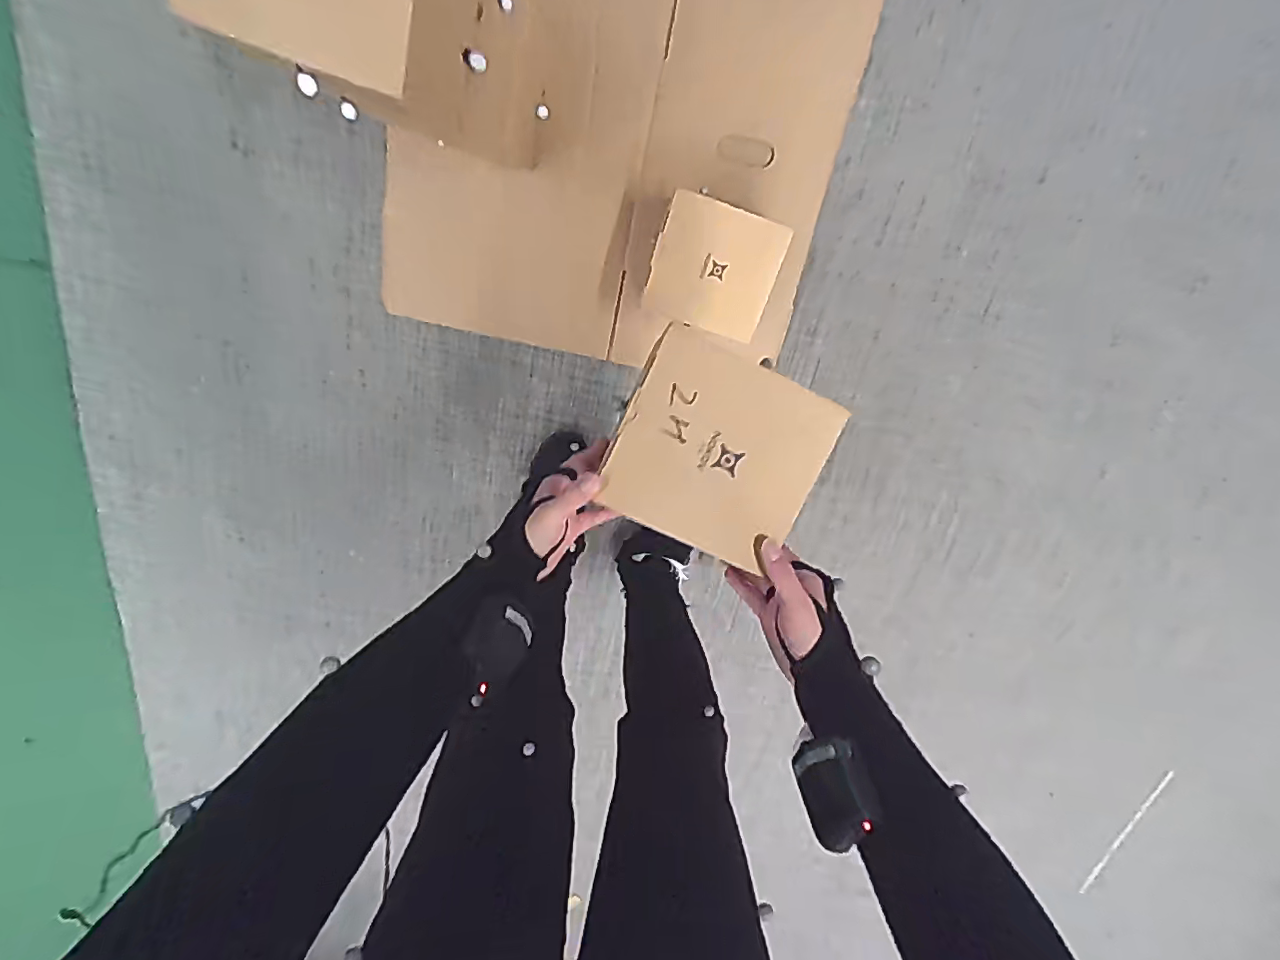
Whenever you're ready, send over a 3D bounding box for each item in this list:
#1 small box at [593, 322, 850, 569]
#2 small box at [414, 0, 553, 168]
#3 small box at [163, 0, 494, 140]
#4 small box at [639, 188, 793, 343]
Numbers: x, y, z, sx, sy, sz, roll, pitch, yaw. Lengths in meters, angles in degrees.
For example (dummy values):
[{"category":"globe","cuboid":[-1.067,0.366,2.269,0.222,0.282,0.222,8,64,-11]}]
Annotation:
[{"category":"small box","cuboid":[0.068,-0.040,0.546,0.179,0.176,0.168,25,97,-6]},{"category":"small box","cuboid":[-0.232,-0.551,0.743,0.179,0.176,0.168,15,112,-5]},{"category":"small box","cuboid":[-0.239,-0.409,0.448,0.179,0.176,0.168,17,113,-6]},{"category":"small box","cuboid":[0.107,-0.327,0.831,0.179,0.176,0.168,16,112,-4]}]
